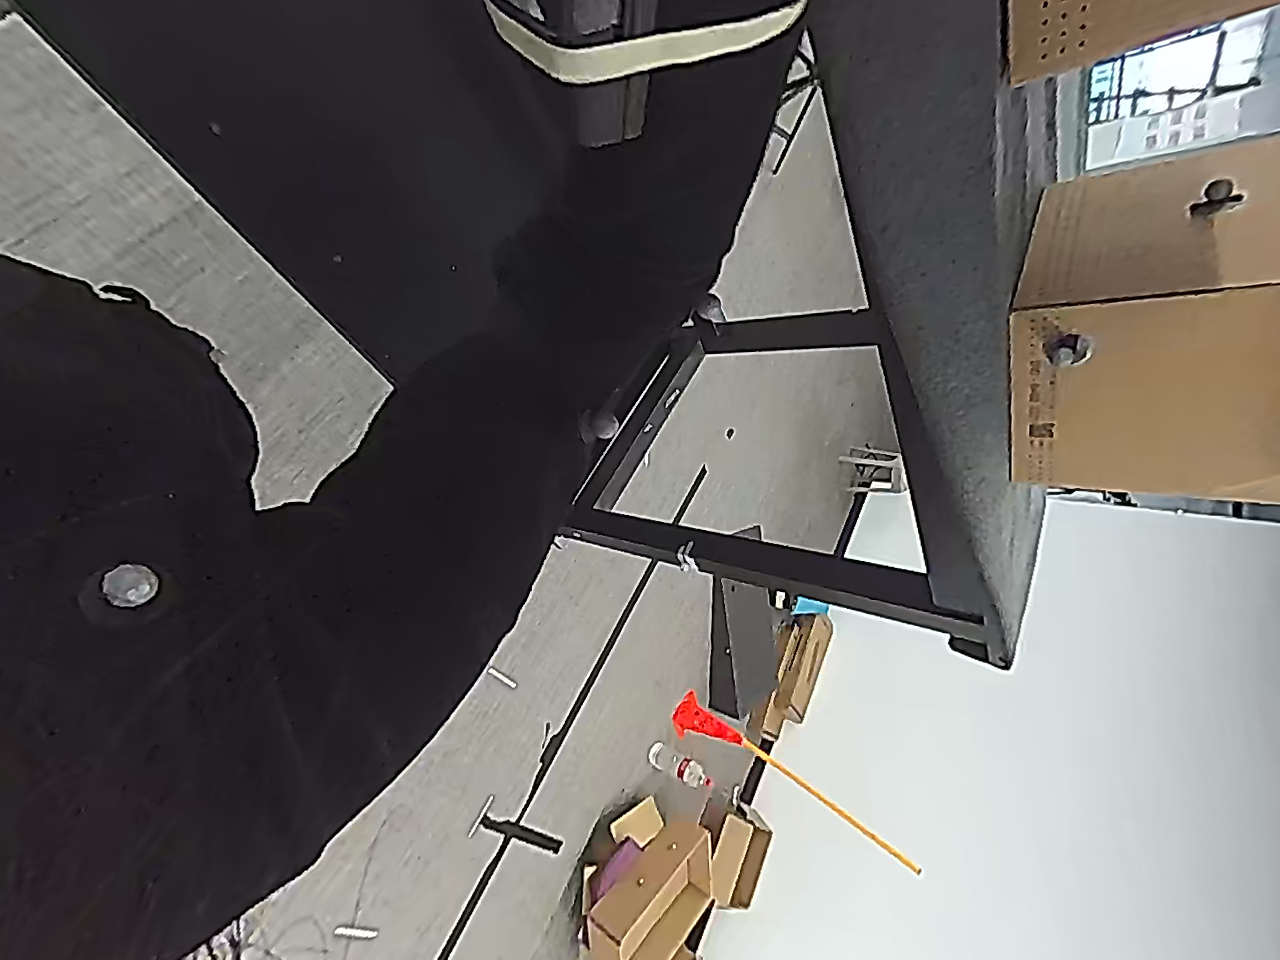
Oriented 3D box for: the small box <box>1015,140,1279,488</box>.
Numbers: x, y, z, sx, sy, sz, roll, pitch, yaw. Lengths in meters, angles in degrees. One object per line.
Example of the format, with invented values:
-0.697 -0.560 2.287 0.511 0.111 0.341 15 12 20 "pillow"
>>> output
0.378 -0.109 0.386 0.179 0.176 0.168 -57 134 -30 "small box"
